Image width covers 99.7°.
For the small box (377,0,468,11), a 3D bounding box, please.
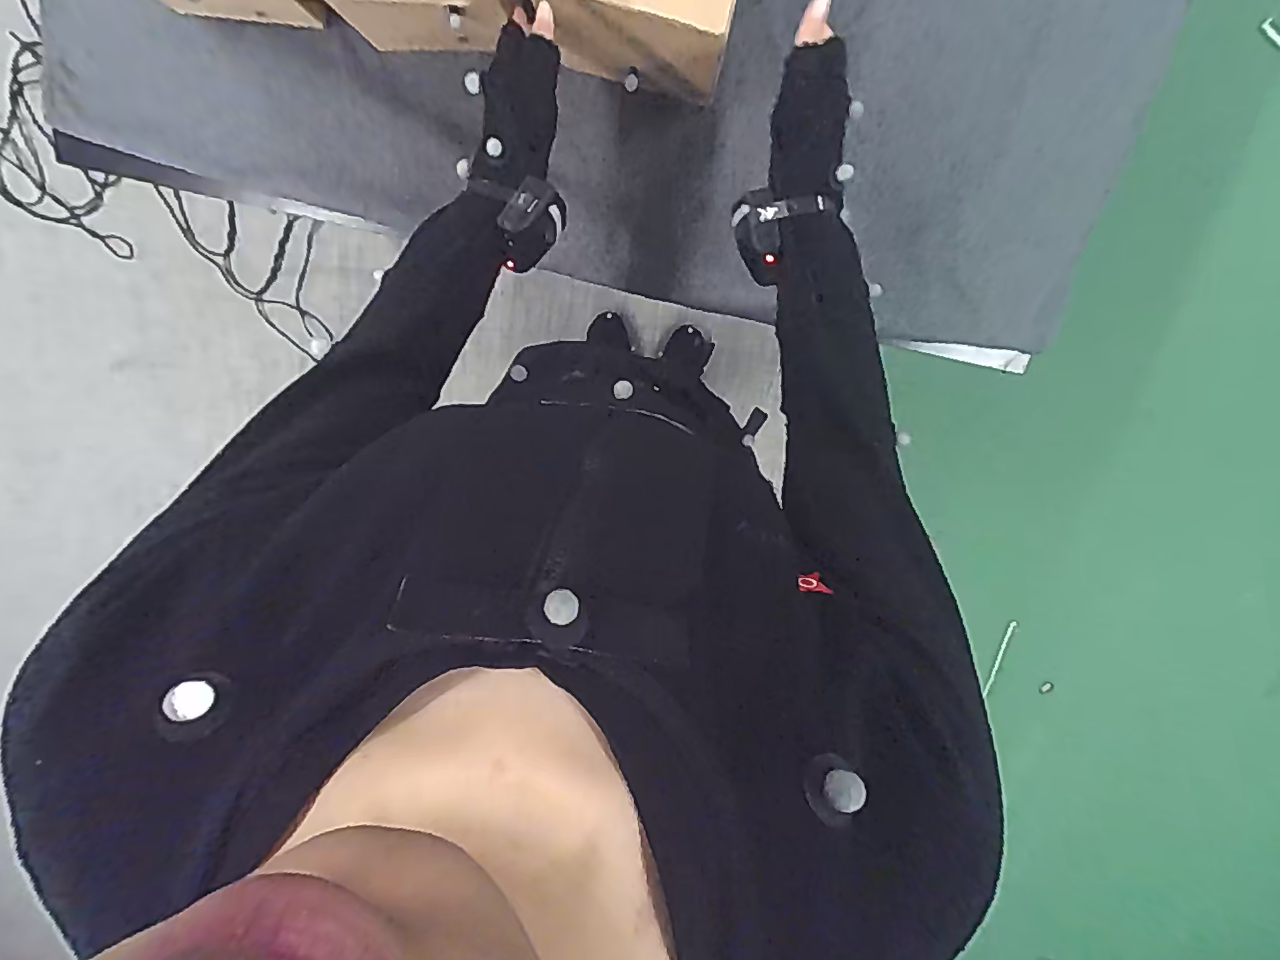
[{"bbox_3d":[-0.215,-0.450,0.351,0.168,0.176,0.179,3,107,0],"label":"small box"}]
